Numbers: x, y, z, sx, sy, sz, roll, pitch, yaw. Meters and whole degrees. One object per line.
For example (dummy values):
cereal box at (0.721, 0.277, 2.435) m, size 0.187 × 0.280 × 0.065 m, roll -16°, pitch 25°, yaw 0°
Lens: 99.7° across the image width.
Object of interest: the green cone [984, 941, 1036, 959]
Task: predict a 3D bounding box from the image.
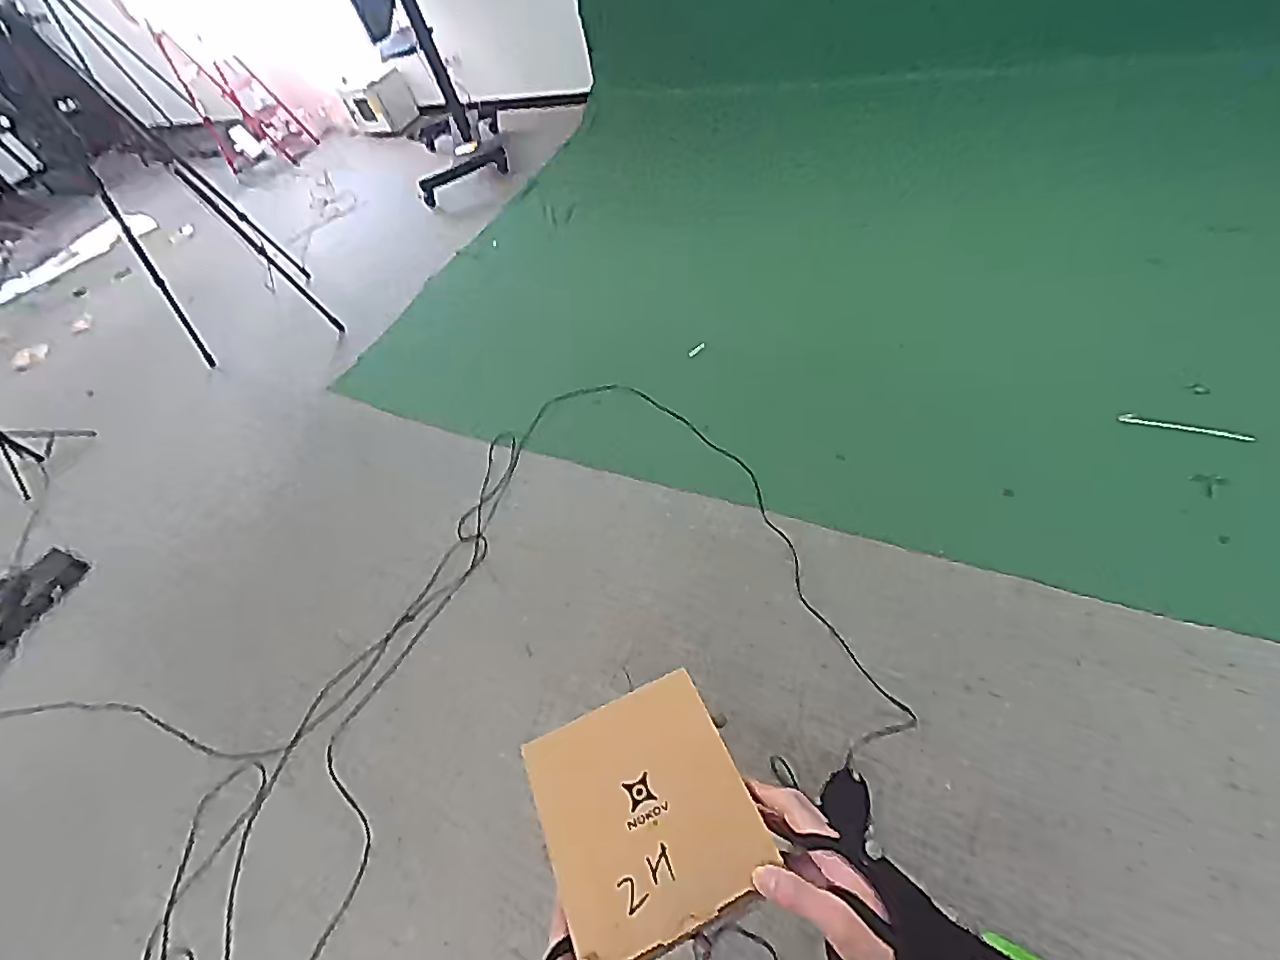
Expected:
green cone at (0.711, 0.923, 0.875) m, size 0.202 × 0.368 × 0.200 m, roll 15°, pitch 60°, yaw 25°
